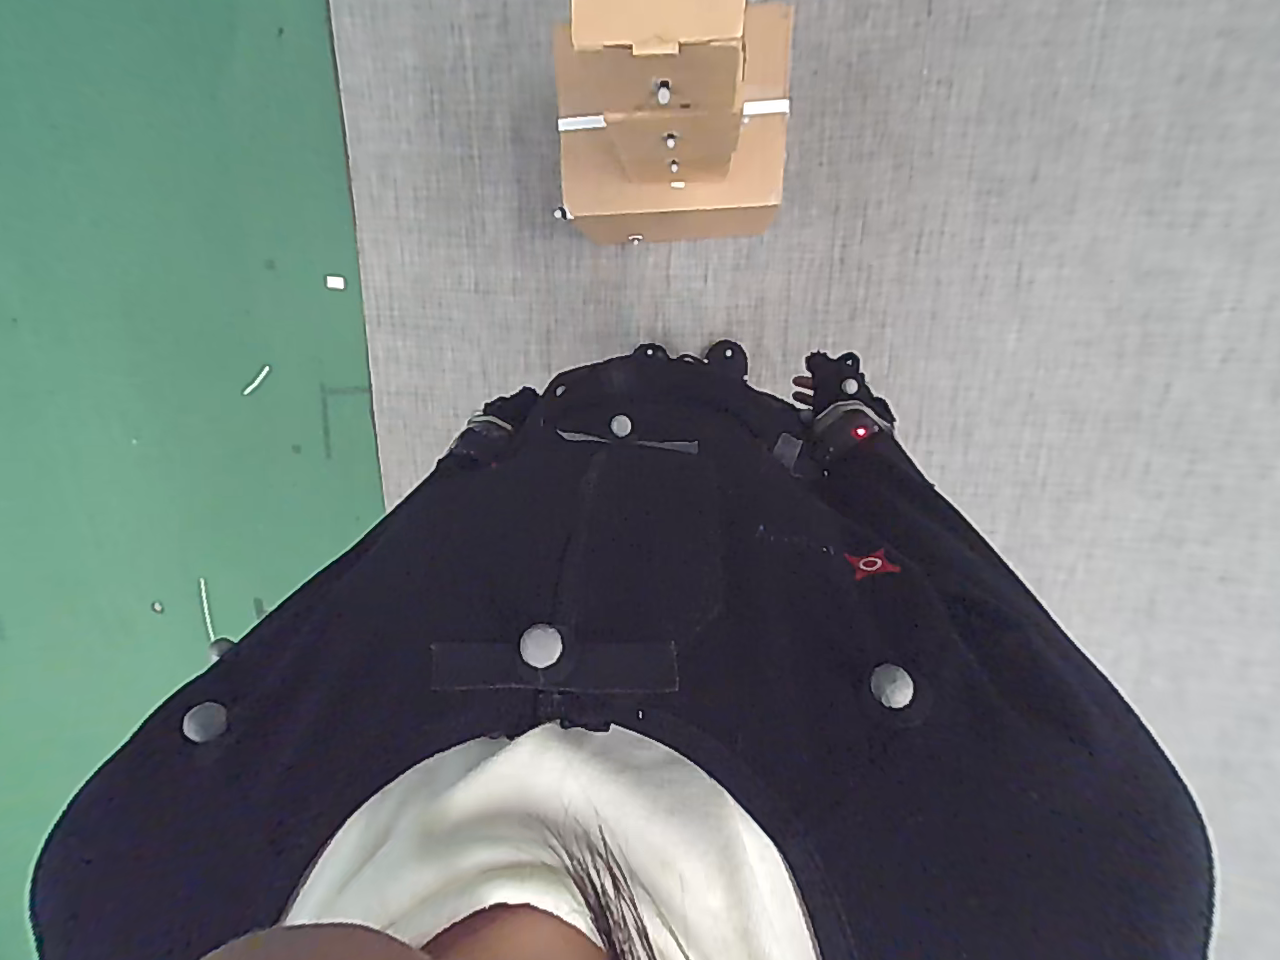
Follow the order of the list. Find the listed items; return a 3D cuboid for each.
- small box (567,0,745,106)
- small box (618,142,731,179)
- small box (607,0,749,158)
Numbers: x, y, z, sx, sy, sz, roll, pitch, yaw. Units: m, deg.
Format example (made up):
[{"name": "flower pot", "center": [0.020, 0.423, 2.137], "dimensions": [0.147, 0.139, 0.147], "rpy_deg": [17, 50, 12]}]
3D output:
[{"name": "small box", "center": [0.026, -0.516, 0.565], "dimensions": [0.168, 0.176, 0.179], "rpy_deg": [5, 107, 7]}, {"name": "small box", "center": [0.063, -0.601, 0.879], "dimensions": [0.179, 0.176, 0.168], "rpy_deg": [2, 107, 6]}, {"name": "small box", "center": [0.049, -0.551, 0.724], "dimensions": [0.179, 0.176, 0.168], "rpy_deg": [-2, 106, 7]}]
